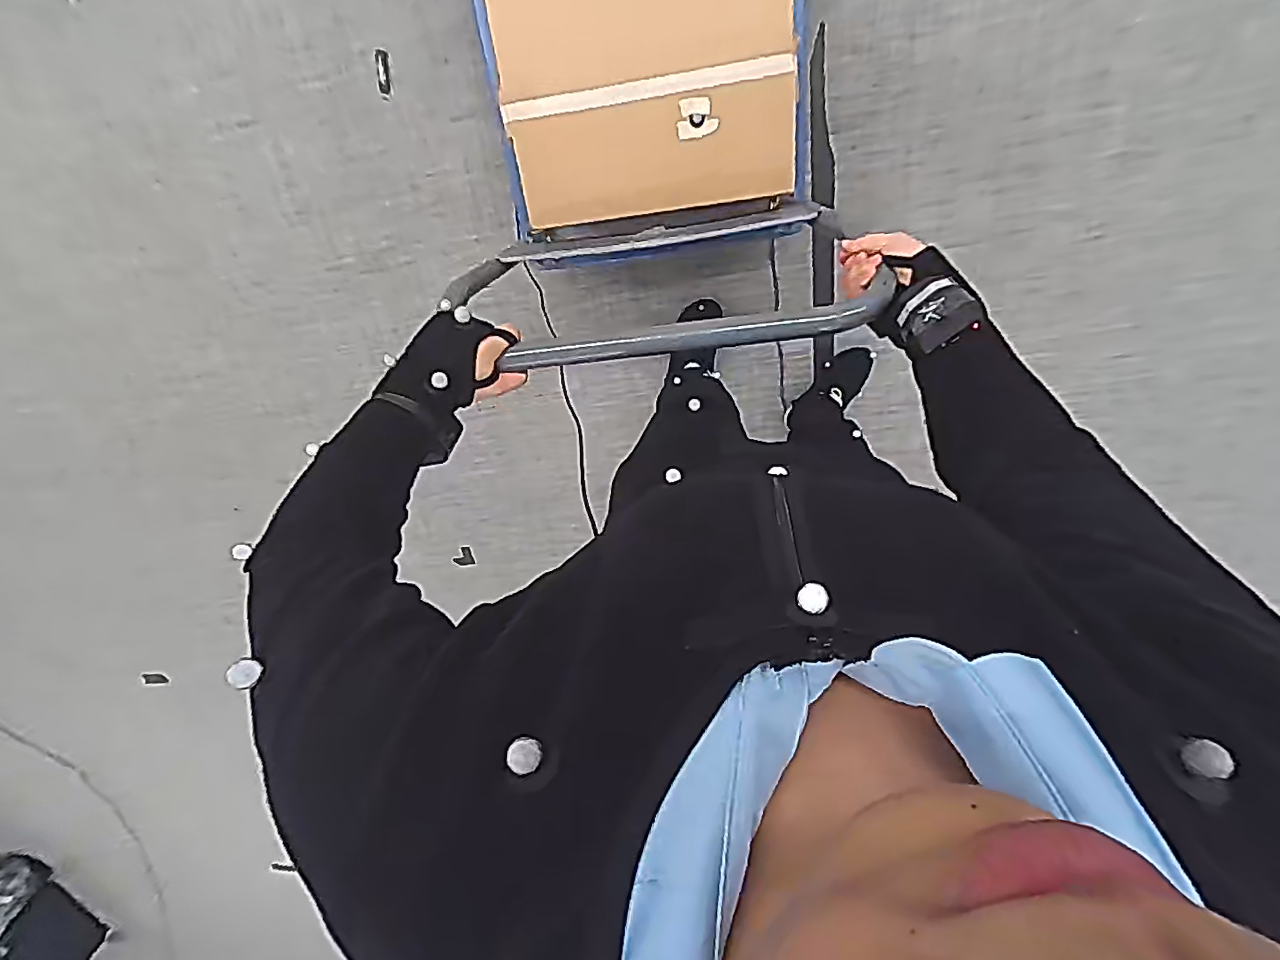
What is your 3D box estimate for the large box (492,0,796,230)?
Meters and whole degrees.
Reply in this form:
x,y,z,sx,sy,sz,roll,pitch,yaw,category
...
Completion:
x,y,z,sx,sy,sz,roll,pitch,yaw,category
0.022,-0.616,0.892,0.408,0.320,0.320,-5,118,6,large box
